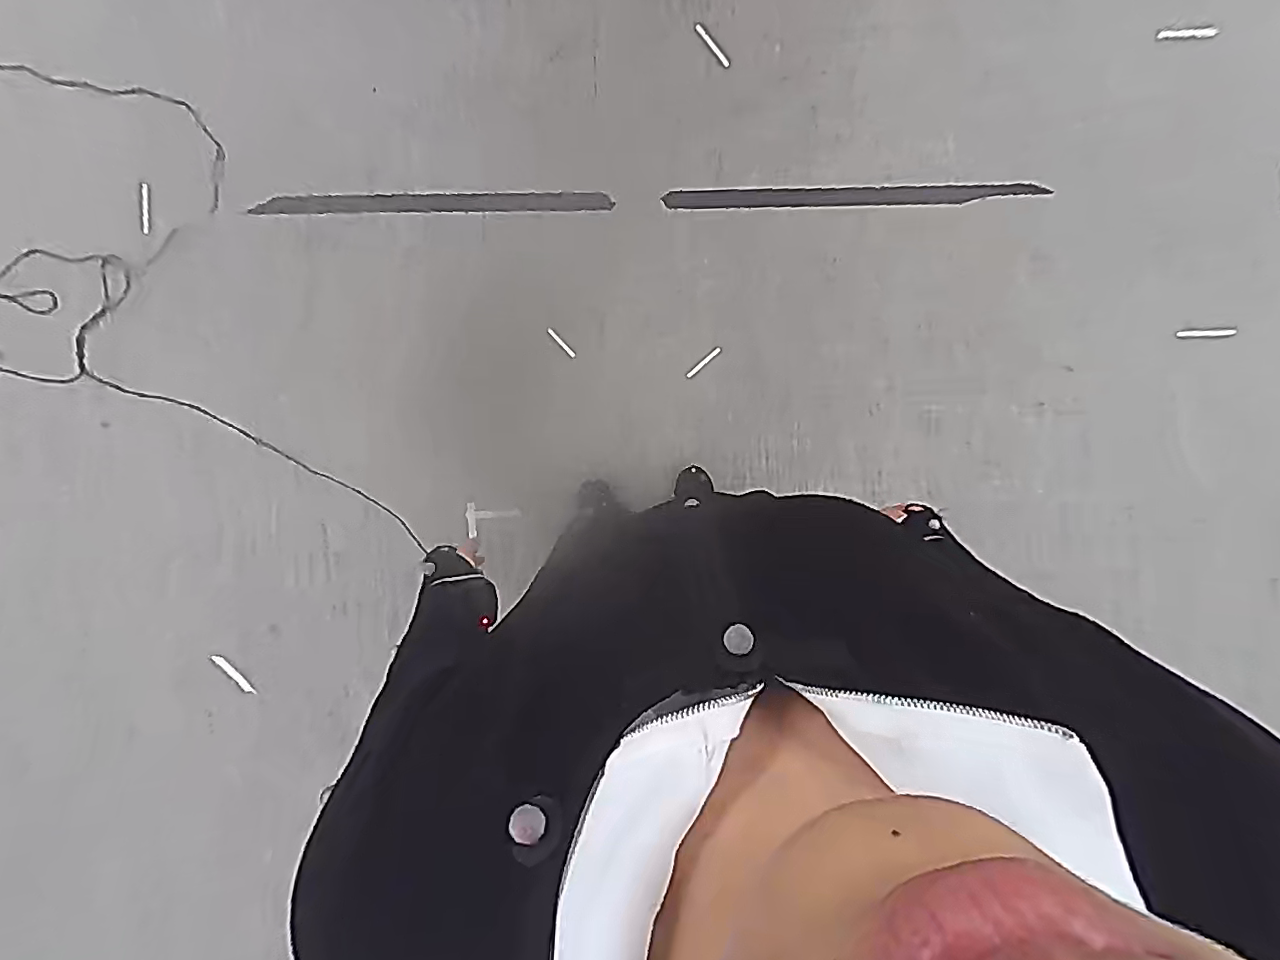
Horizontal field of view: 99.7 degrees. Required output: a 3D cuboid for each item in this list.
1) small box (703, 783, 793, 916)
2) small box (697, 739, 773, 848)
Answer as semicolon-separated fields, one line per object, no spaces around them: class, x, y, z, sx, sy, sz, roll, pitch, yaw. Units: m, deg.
small box;0.227;0.786;1.162;0.168;0.176;0.179;-3;92;2
small box;0.228;0.764;1.325;0.168;0.176;0.179;-2;92;1
